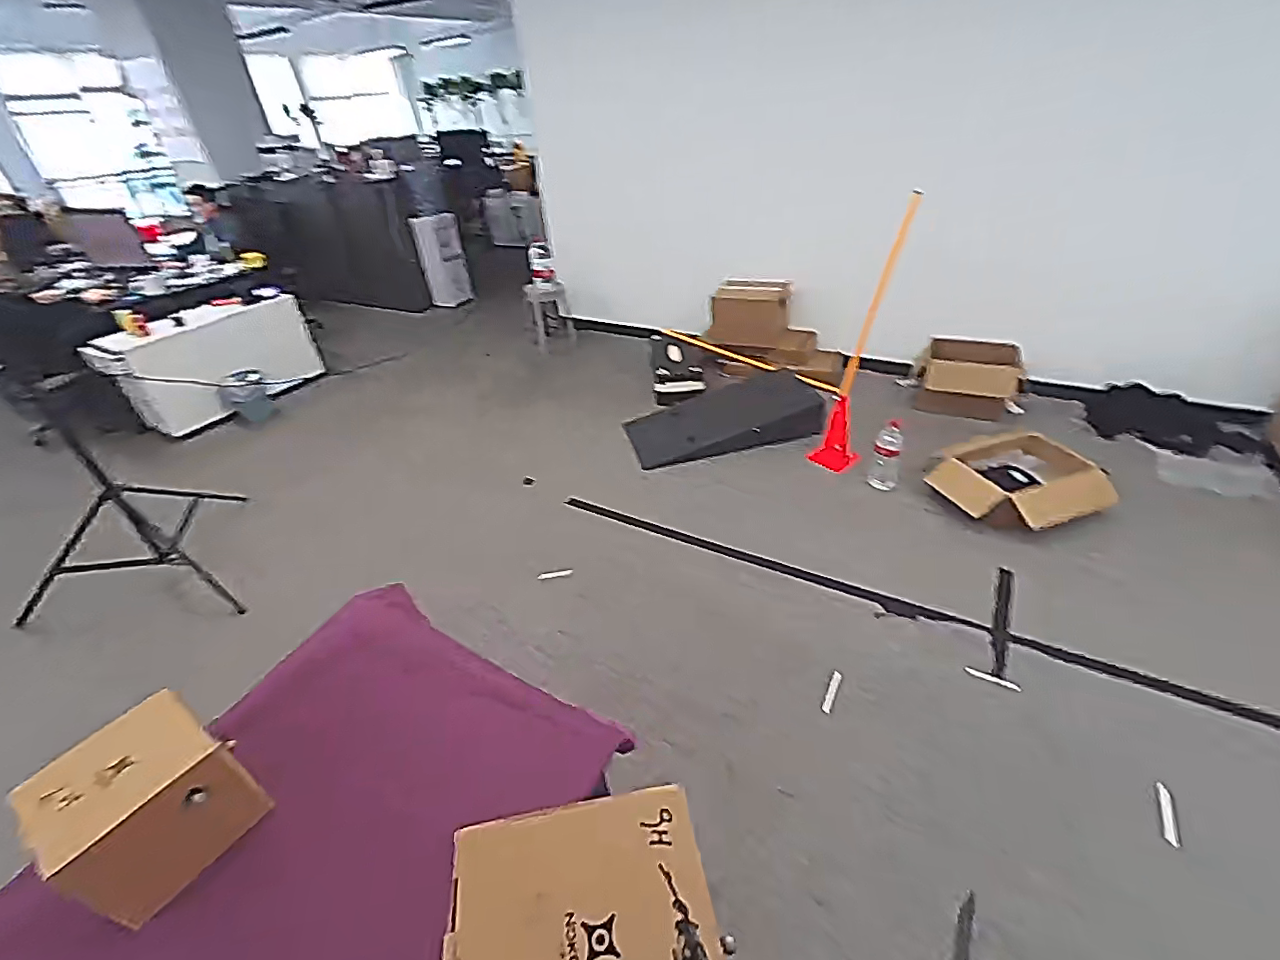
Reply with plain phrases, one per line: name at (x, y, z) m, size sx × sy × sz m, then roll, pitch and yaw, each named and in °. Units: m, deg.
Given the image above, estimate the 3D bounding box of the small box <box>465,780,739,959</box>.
small box at (-0.027, 0.357, 0.409) m, size 0.179 × 0.176 × 0.168 m, roll -6°, pitch 44°, yaw -9°

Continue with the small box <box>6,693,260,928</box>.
small box at (-0.649, 0.432, 0.718) m, size 0.168 × 0.176 × 0.179 m, roll 18°, pitch 42°, yaw 29°
